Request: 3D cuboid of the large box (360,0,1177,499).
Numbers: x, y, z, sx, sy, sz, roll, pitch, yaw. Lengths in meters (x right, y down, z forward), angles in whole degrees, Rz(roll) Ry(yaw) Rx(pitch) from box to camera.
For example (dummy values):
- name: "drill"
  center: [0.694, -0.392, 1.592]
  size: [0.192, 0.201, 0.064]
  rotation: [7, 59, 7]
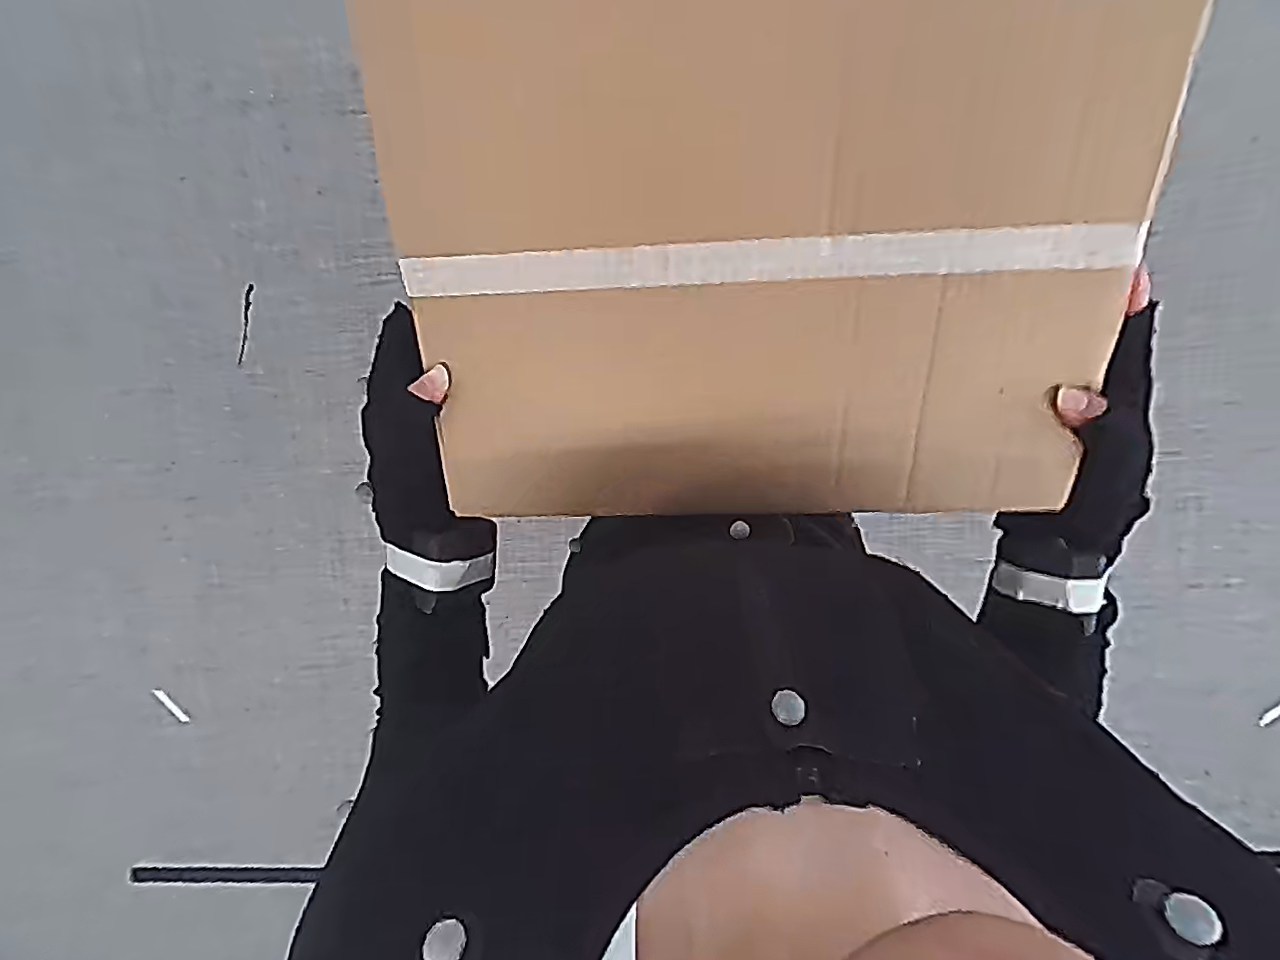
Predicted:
- name: "large box"
  center: [0.068, -0.191, 0.446]
  size: [0.408, 0.320, 0.320]
  rotation: [-1, 114, 3]
